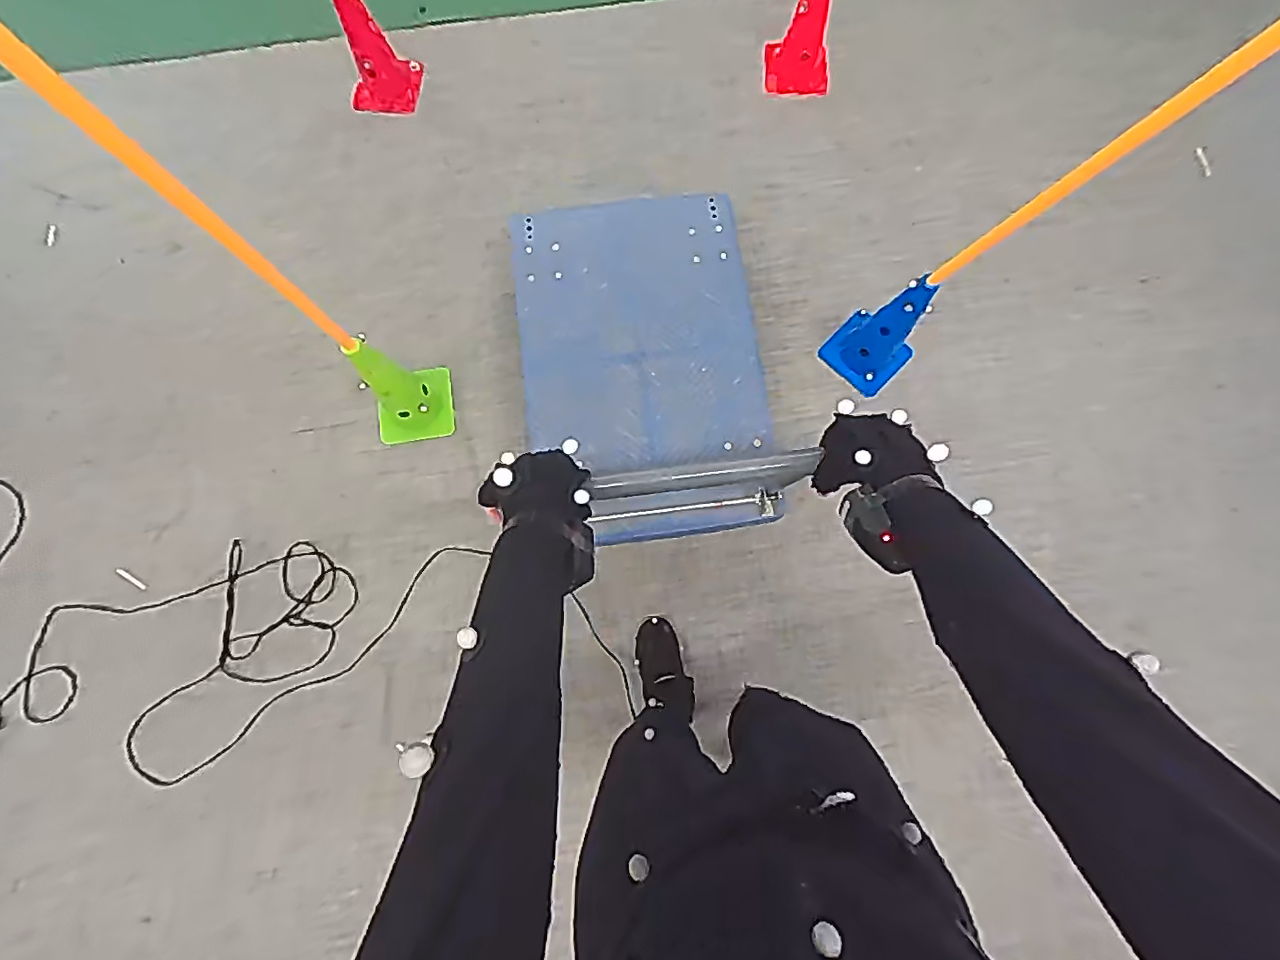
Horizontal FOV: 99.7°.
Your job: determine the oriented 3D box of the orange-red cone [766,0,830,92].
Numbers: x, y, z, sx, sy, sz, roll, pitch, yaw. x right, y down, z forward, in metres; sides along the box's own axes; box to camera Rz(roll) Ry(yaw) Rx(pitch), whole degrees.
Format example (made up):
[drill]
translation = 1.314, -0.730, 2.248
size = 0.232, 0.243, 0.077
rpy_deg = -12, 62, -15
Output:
[orange-red cone]
translation = 0.492, -1.340, 1.536
size = 0.198, 0.360, 0.199
rpy_deg = 3, 79, 2
